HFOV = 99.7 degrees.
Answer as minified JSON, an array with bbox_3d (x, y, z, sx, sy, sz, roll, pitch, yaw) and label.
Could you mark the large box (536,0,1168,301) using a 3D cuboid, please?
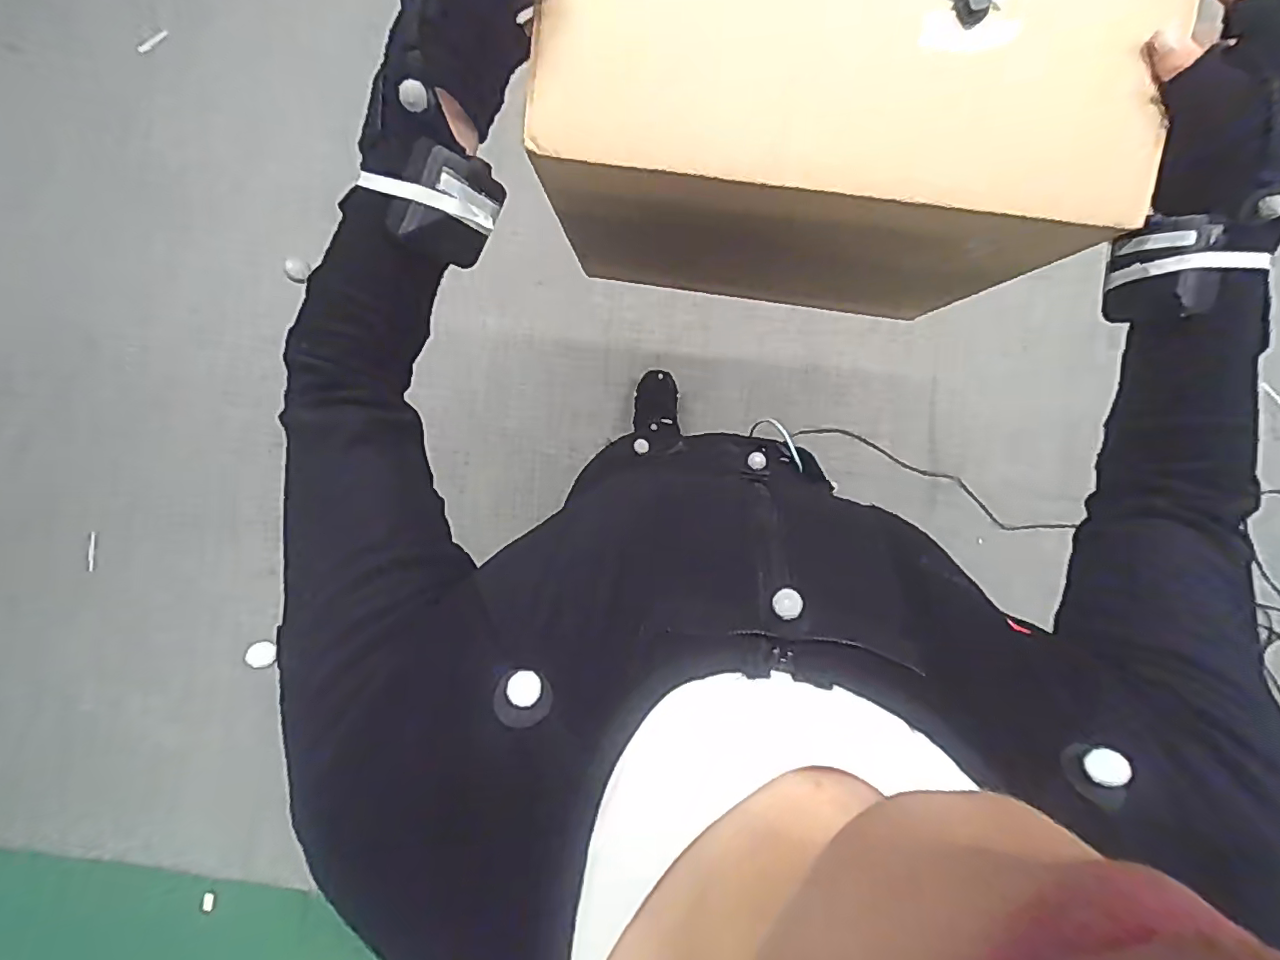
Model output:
[{"bbox_3d":[0.144,-0.370,0.493,0.408,0.320,0.320,7,97,1],"label":"large box"}]
